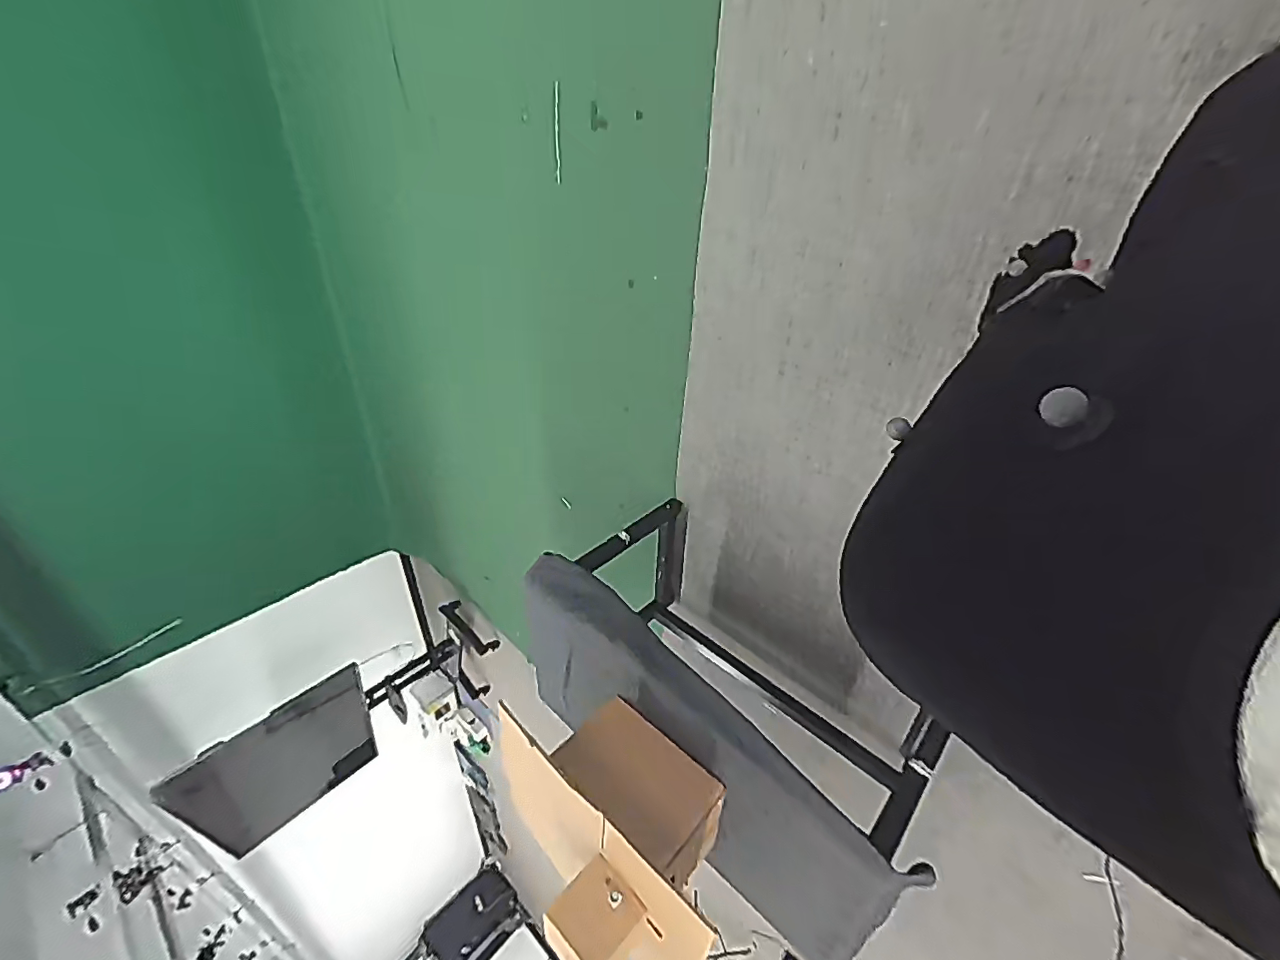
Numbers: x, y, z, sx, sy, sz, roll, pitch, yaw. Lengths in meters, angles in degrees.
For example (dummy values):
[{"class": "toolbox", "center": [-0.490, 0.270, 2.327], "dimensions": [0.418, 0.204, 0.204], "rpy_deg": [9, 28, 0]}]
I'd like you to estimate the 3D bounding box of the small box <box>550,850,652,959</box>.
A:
[{"class": "small box", "center": [-0.087, 1.009, 1.239], "dimensions": [0.168, 0.176, 0.179], "rpy_deg": [28, 130, 33]}]
